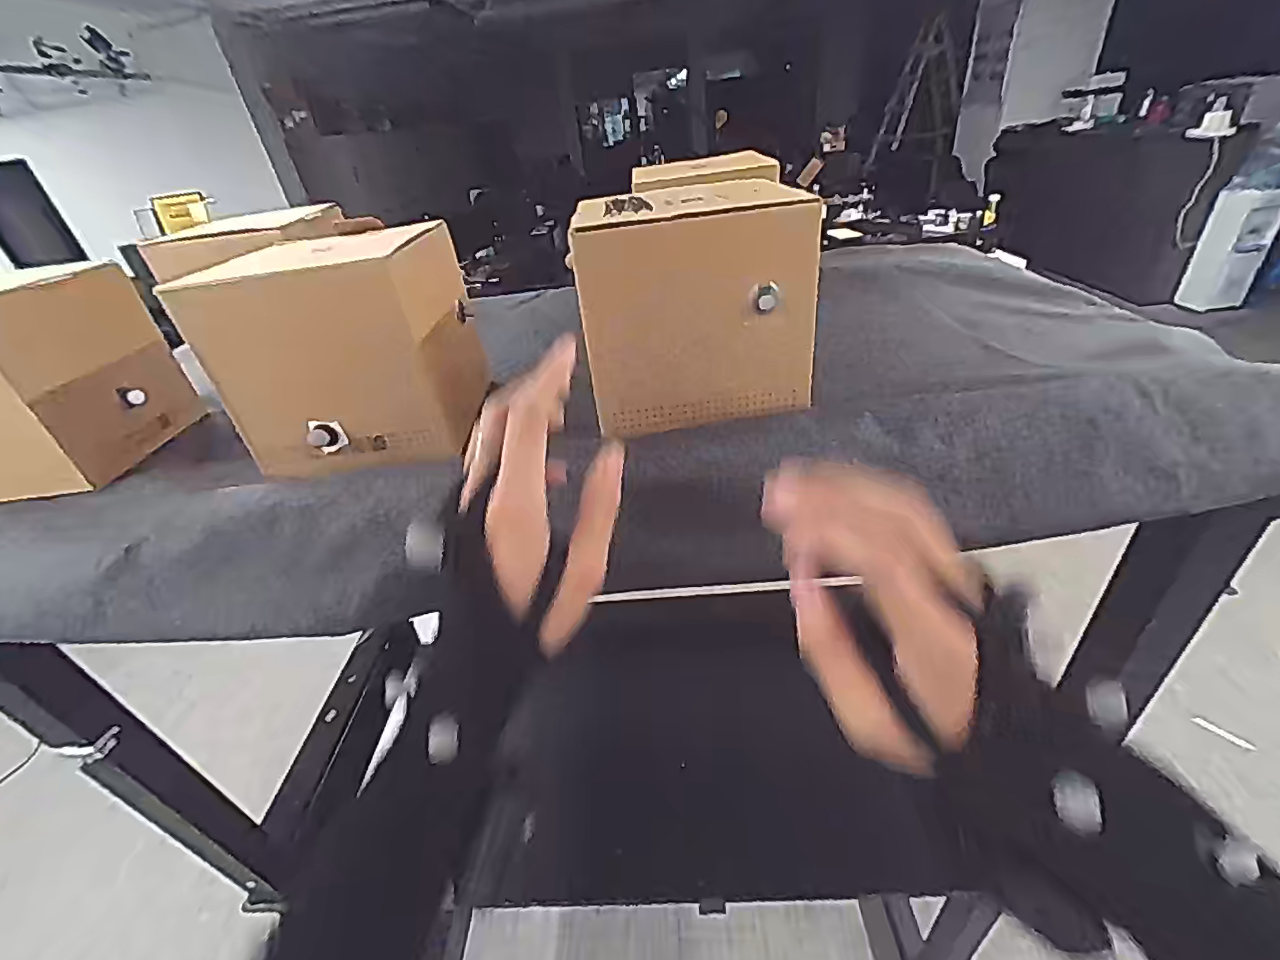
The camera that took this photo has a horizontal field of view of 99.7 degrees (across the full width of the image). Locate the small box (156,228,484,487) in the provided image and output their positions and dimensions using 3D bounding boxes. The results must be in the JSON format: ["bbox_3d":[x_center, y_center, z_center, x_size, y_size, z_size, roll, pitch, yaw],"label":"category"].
[{"bbox_3d":[-0.251,-0.114,0.484,0.168,0.176,0.179,-8,33,1],"label":"small box"}]

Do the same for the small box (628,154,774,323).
[{"bbox_3d":[0.078,-0.313,0.709,0.168,0.176,0.179,-6,34,3],"label":"small box"}]

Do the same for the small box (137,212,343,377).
[{"bbox_3d":[-0.495,-0.252,0.737,0.179,0.176,0.168,-6,34,2],"label":"small box"}]

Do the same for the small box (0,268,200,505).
[{"bbox_3d":[-0.581,-0.084,0.502,0.179,0.176,0.168,-7,33,0],"label":"small box"}]
